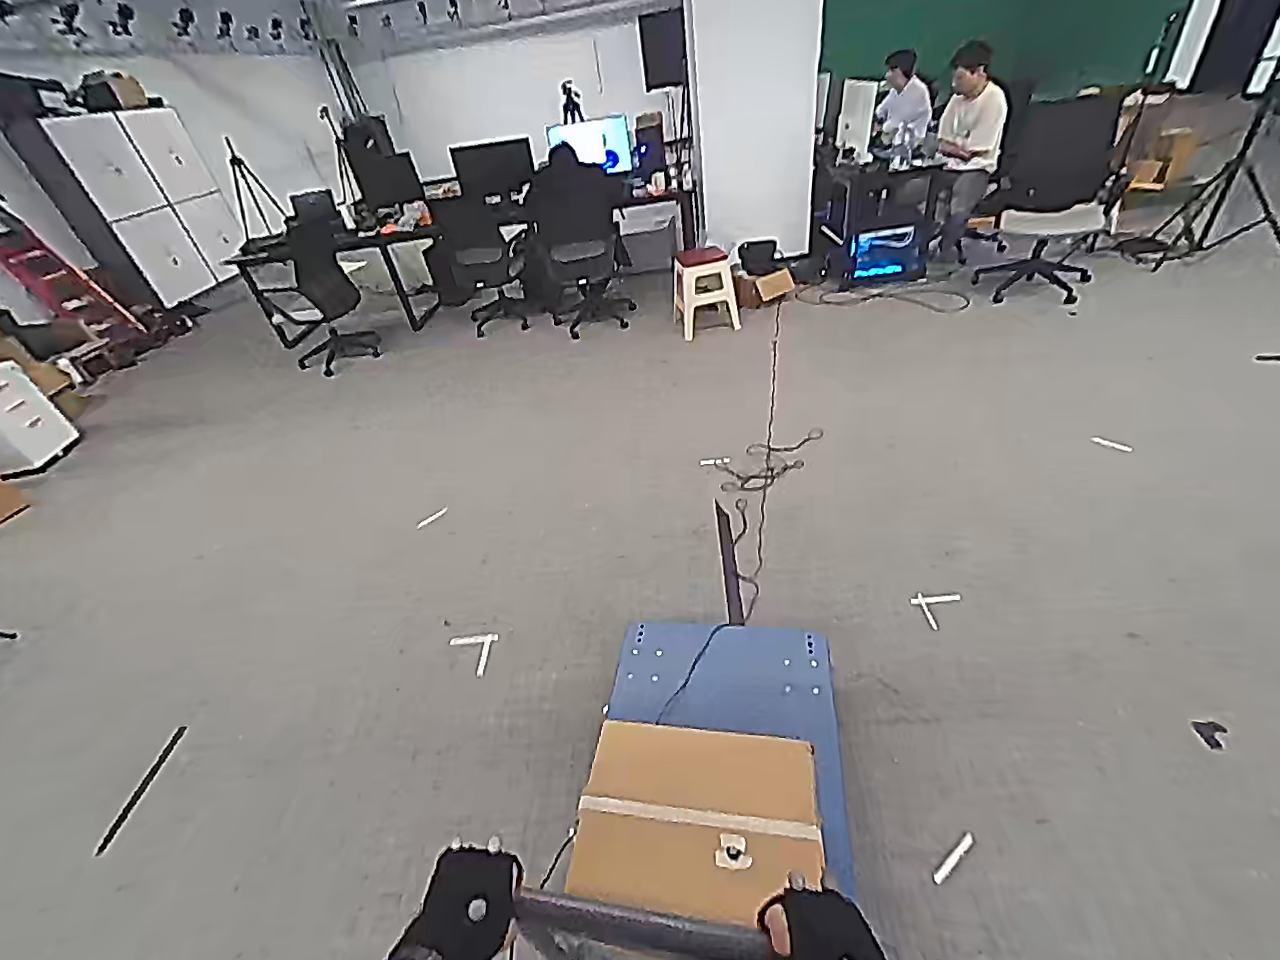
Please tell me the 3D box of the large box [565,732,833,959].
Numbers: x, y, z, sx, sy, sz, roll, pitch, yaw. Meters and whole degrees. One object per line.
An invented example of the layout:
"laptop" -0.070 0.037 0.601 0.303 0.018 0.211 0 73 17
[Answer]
"large box" 0.117 0.705 0.993 0.408 0.320 0.320 0 38 12
